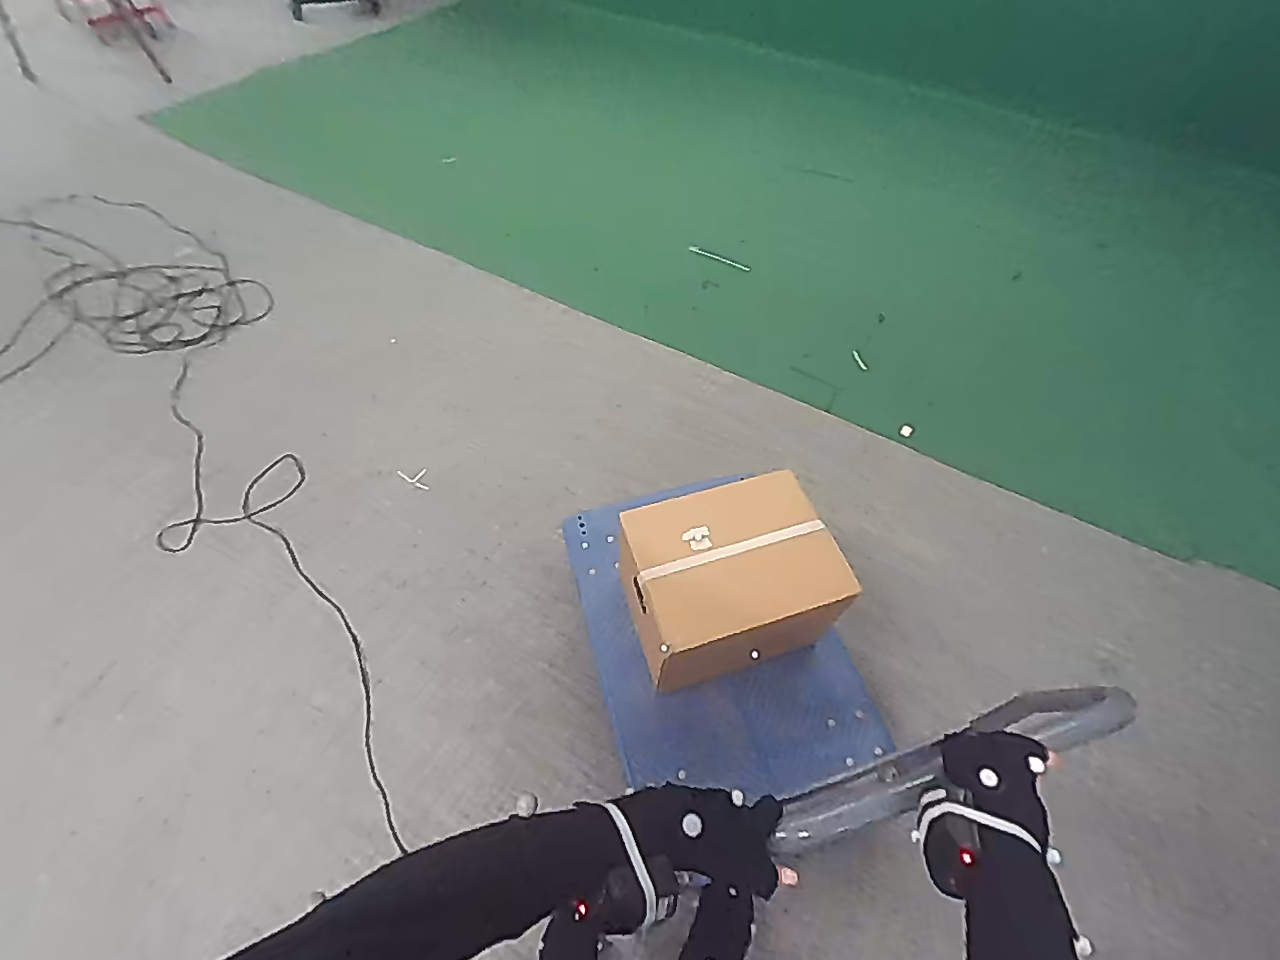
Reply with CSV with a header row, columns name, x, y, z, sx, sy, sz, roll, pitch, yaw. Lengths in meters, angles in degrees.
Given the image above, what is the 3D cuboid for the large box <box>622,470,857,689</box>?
name,x,y,z,sx,sy,sz,roll,pitch,yaw
large box,0.193,0.230,1.224,0.408,0.320,0.320,-15,57,-11
